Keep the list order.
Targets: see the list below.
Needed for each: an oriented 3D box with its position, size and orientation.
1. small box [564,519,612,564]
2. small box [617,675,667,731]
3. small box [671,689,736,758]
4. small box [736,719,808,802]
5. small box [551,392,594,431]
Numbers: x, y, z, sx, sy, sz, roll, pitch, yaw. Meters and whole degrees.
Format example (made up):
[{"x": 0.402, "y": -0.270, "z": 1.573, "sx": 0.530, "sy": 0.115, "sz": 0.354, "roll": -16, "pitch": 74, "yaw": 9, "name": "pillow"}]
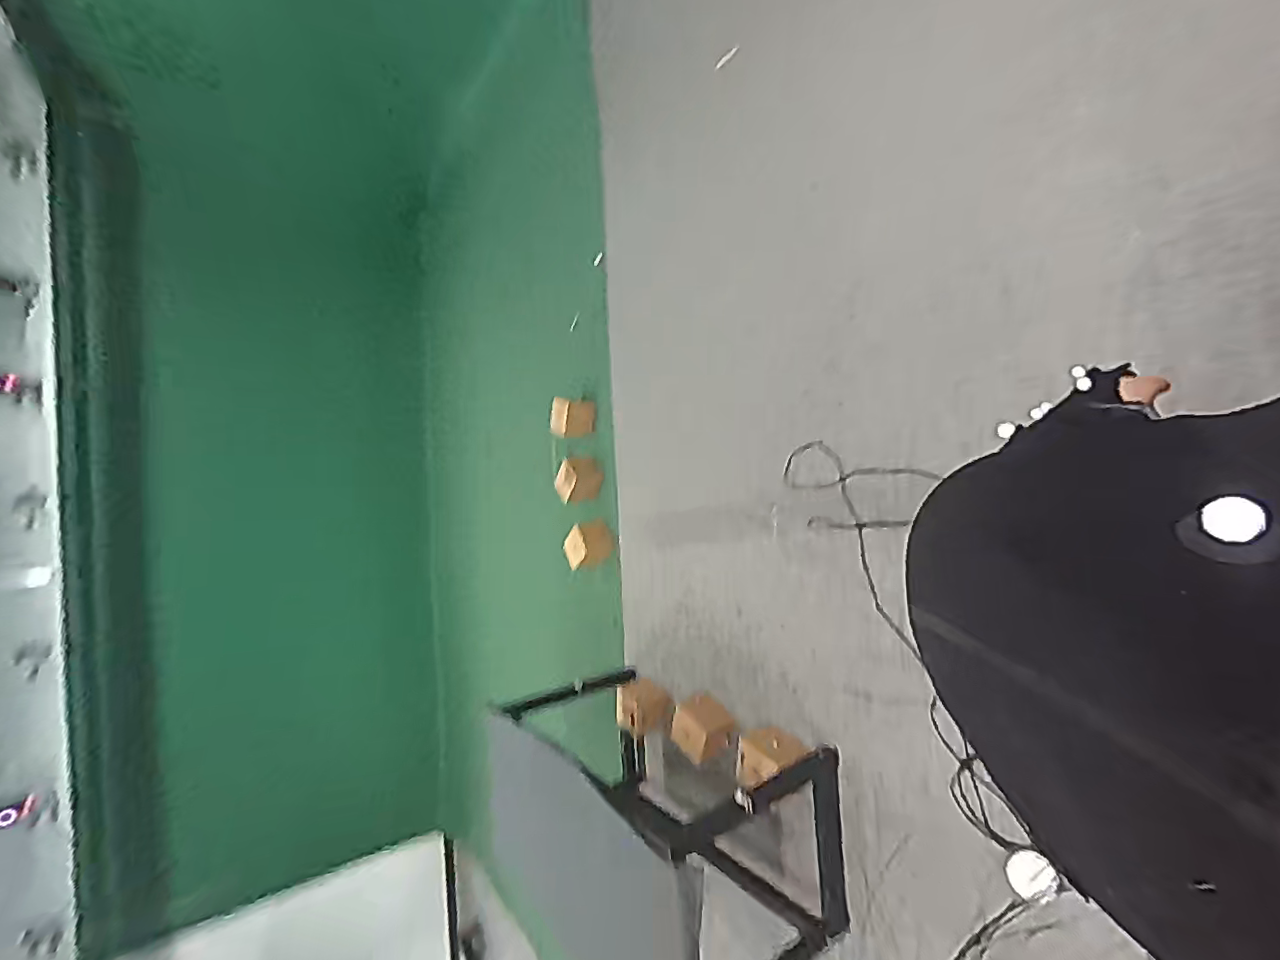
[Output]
[{"x": -0.270, "y": 0.316, "z": 2.813, "sx": 0.179, "sy": 0.176, "sz": 0.168, "roll": -52, "pitch": 52, "yaw": 40, "name": "small box"}, {"x": 0.008, "y": 1.014, "z": 2.481, "sx": 0.179, "sy": 0.176, "sz": 0.168, "roll": 6, "pitch": 96, "yaw": 54, "name": "small box"}, {"x": 0.251, "y": 0.963, "z": 2.158, "sx": 0.179, "sy": 0.176, "sz": 0.168, "roll": 27, "pitch": 114, "yaw": 48, "name": "small box"}, {"x": 0.461, "y": 0.965, "z": 1.882, "sx": 0.179, "sy": 0.176, "sz": 0.168, "roll": 16, "pitch": 104, "yaw": 51, "name": "small box"}, {"x": -0.359, "y": -0.364, "z": 2.887, "sx": 0.168, "sy": 0.176, "sz": 0.179, "roll": 27, "pitch": 112, "yaw": 49, "name": "small box"}]
